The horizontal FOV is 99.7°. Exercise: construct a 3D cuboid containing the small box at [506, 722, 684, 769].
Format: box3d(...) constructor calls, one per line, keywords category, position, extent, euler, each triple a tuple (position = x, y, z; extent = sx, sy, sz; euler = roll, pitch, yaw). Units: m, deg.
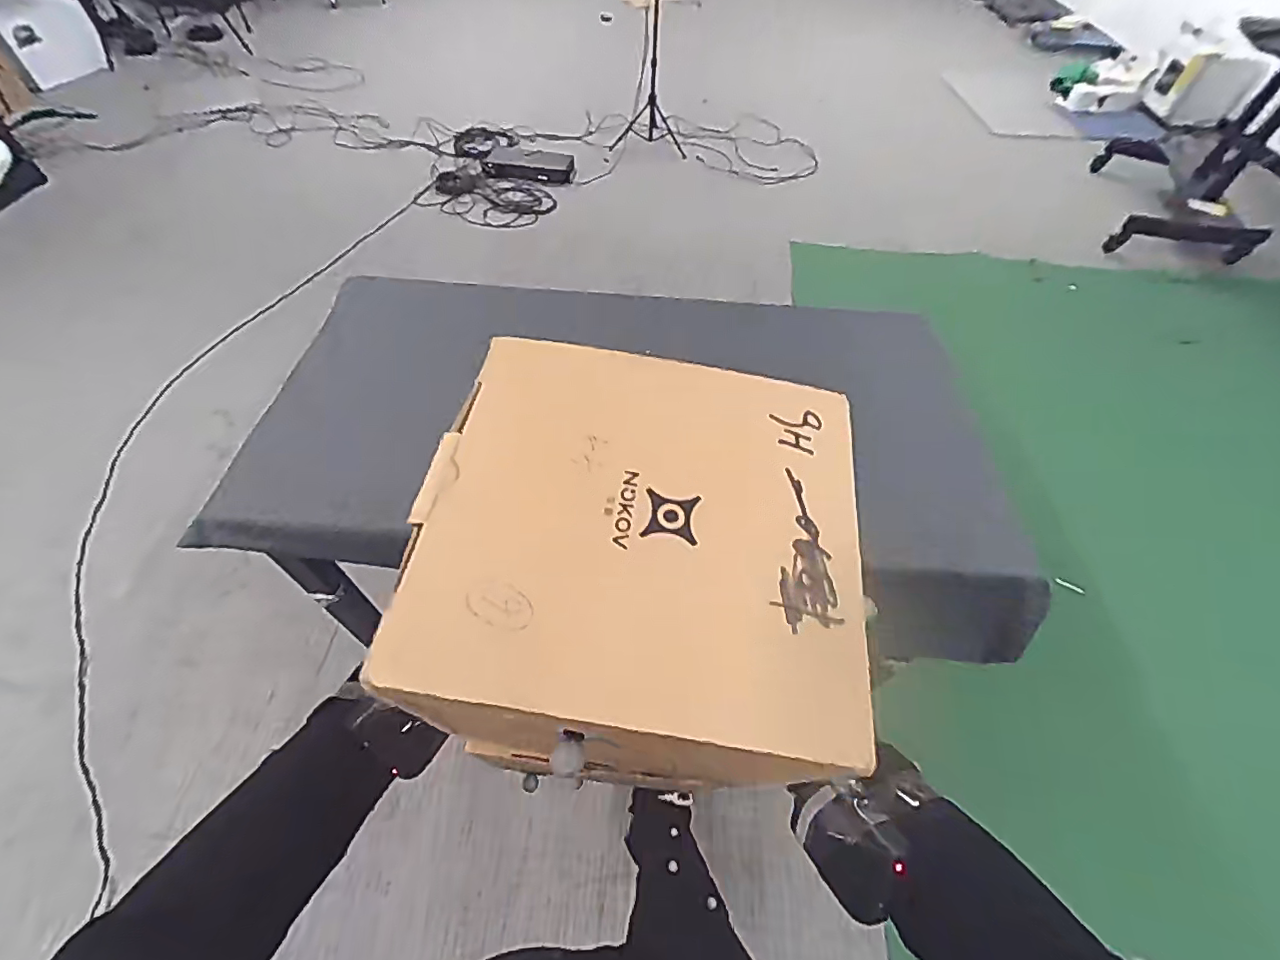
box3d(category="small box", position=(-0.035, 0.202, 0.590), extent=(0.168, 0.176, 0.179), euler=(11, 60, 1))
